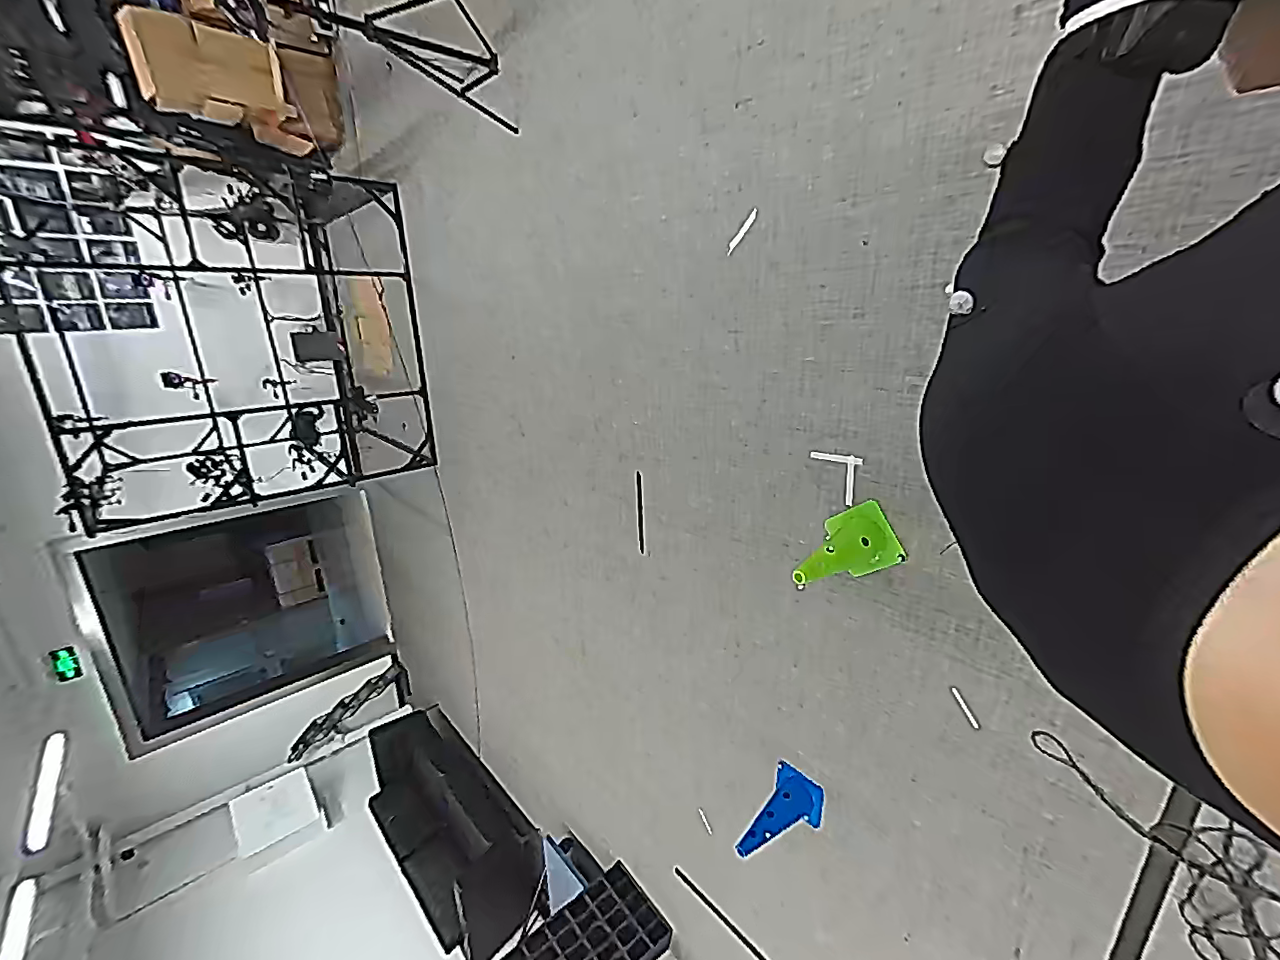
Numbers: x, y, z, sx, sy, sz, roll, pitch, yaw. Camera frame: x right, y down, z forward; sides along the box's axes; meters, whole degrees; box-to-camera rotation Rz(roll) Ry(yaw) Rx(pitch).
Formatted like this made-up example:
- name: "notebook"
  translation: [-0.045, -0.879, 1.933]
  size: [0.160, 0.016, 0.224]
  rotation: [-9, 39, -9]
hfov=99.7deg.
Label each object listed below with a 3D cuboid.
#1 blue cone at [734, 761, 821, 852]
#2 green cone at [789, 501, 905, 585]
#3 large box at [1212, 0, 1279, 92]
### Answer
- name: "blue cone"
  translation: [0.491, 1.250, 2.000]
  size: [0.192, 0.380, 0.193]
  rotation: [22, 119, 46]
- name: "green cone"
  translation: [0.551, 0.216, 1.544]
  size: [0.202, 0.368, 0.200]
  rotation: [-40, 71, 50]
- name: "large box"
  translation: [0.579, -0.433, 0.235]
  size: [0.408, 0.320, 0.320]
  rotation: [18, 119, 45]
